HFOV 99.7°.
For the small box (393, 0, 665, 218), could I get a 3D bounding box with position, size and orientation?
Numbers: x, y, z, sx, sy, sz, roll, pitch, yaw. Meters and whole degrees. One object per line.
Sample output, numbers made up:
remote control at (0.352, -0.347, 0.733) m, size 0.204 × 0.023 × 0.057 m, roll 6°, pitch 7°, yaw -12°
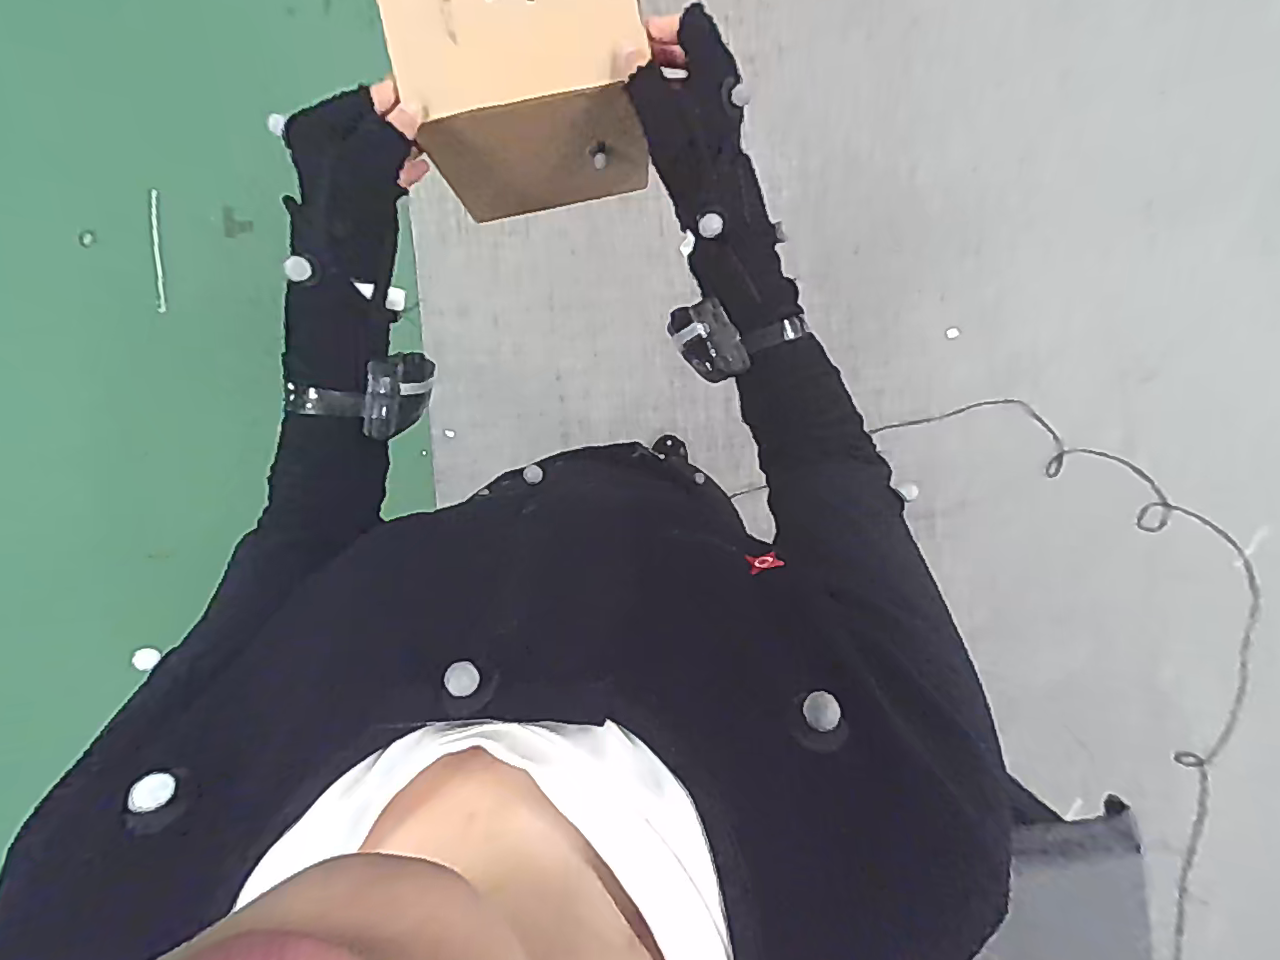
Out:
small box at (-0.083, -0.347, 0.447) m, size 0.179 × 0.176 × 0.168 m, roll -12°, pitch 92°, yaw 2°
